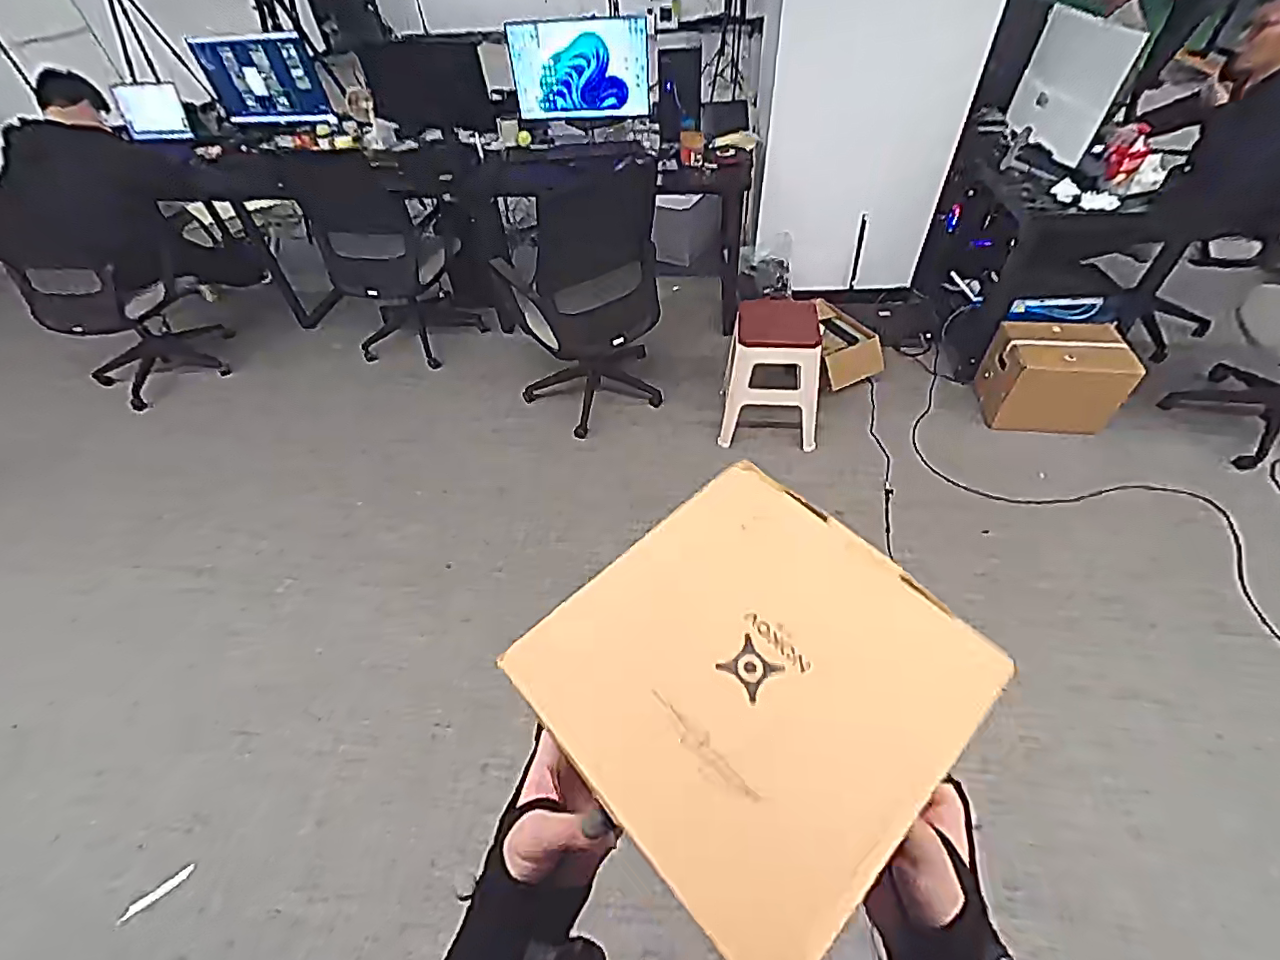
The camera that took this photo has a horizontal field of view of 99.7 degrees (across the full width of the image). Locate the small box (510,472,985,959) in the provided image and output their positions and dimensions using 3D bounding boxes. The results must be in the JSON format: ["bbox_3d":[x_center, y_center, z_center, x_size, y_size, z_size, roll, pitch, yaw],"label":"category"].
[{"bbox_3d":[0.052,0.135,0.325,0.179,0.176,0.168,-39,61,-24],"label":"small box"}]
